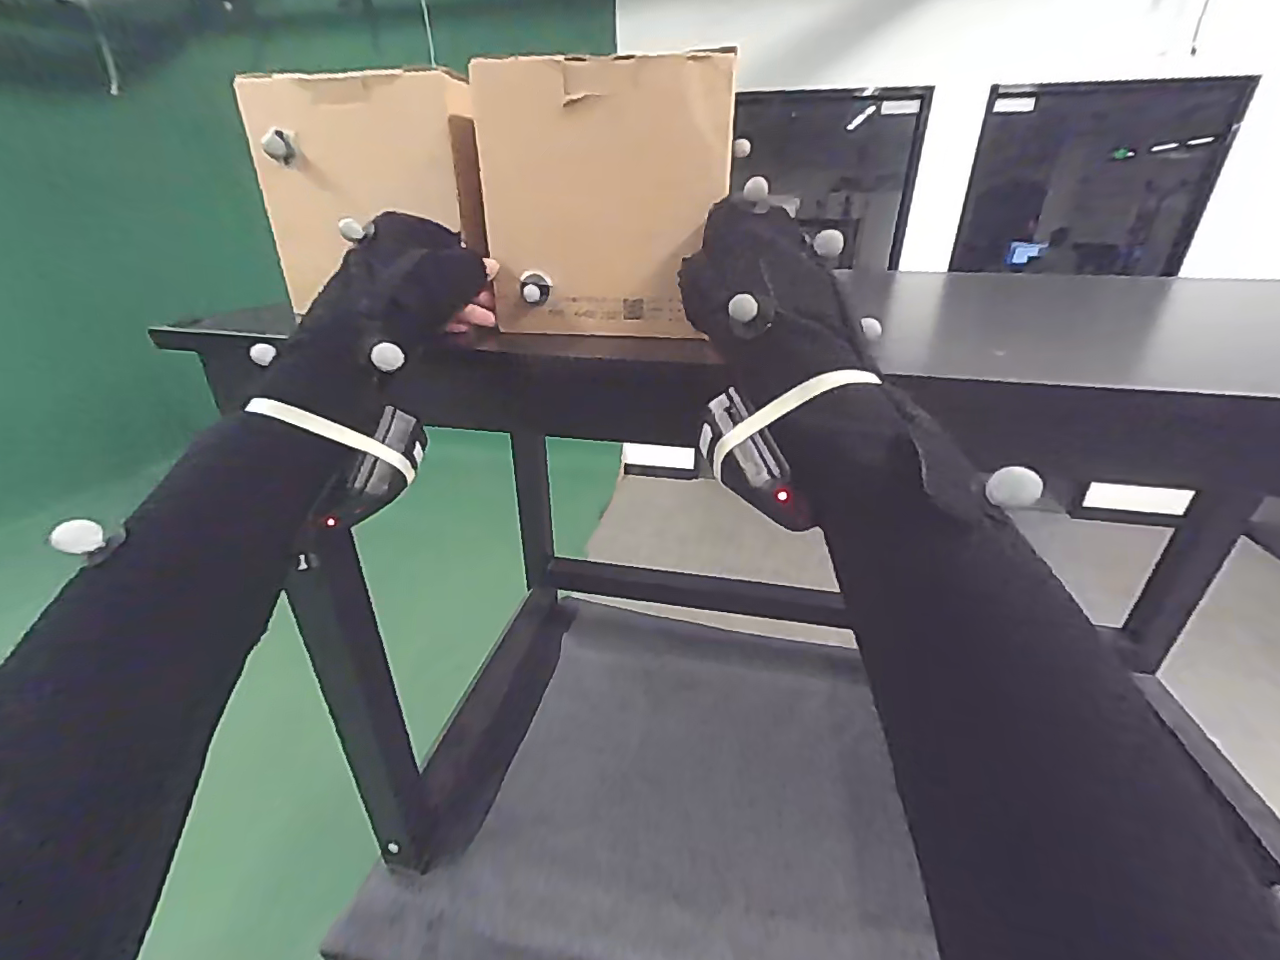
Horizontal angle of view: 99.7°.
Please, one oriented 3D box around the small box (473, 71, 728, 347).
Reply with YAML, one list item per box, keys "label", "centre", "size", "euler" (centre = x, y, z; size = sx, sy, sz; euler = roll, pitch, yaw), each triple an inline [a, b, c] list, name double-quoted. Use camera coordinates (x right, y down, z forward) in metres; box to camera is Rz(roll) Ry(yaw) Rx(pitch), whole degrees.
- label: "small box"
  centre: [-0.015, -0.208, 0.442]
  size: [0.168, 0.176, 0.179]
  euler: [4, 25, 7]
